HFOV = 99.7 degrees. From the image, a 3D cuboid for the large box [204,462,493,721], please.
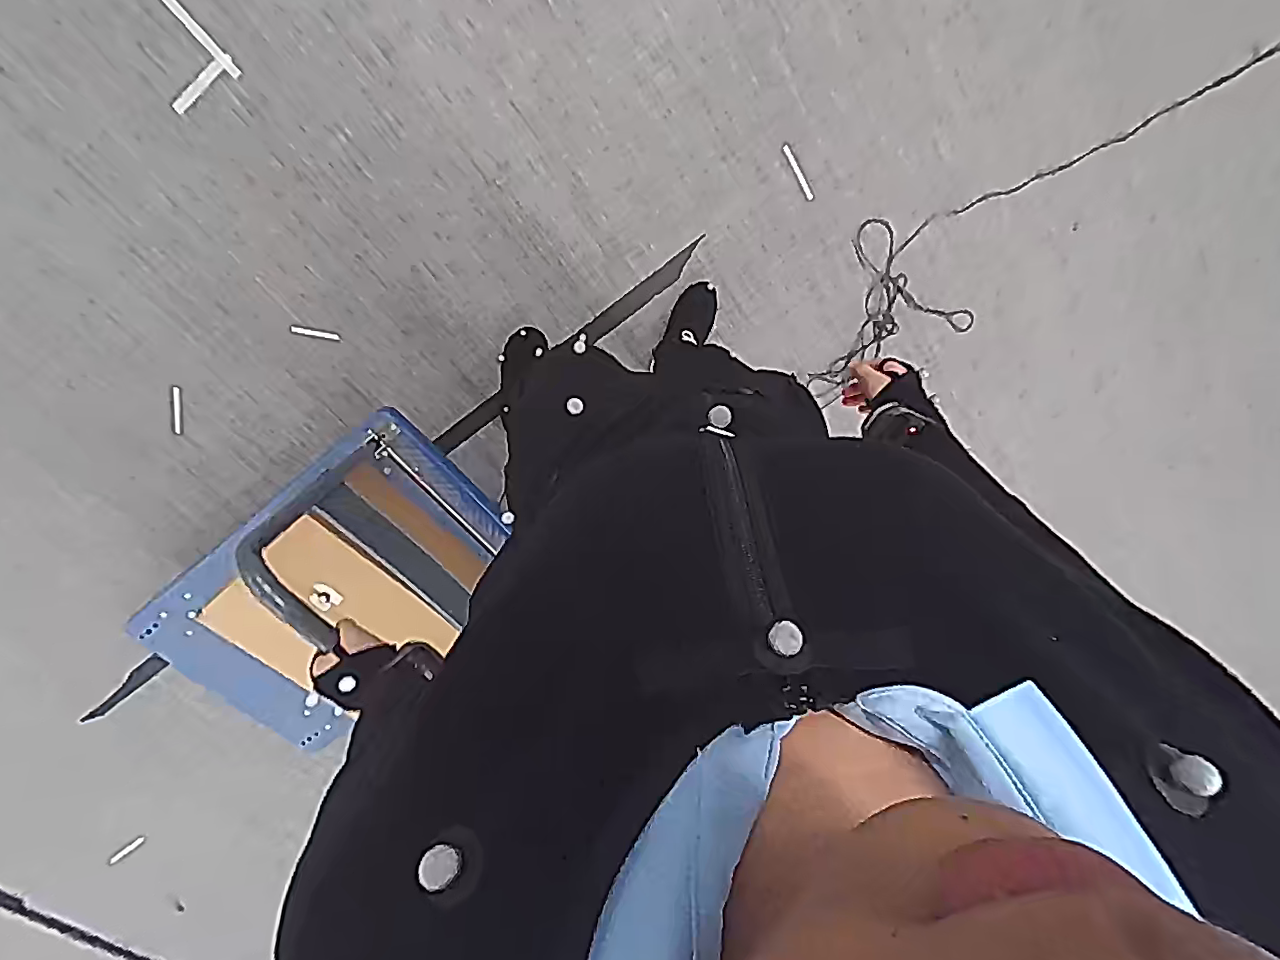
[{"bbox_3d":[-0.593,0.233,1.194,0.320,0.320,0.408,-42,109,7],"label":"large box"}]
